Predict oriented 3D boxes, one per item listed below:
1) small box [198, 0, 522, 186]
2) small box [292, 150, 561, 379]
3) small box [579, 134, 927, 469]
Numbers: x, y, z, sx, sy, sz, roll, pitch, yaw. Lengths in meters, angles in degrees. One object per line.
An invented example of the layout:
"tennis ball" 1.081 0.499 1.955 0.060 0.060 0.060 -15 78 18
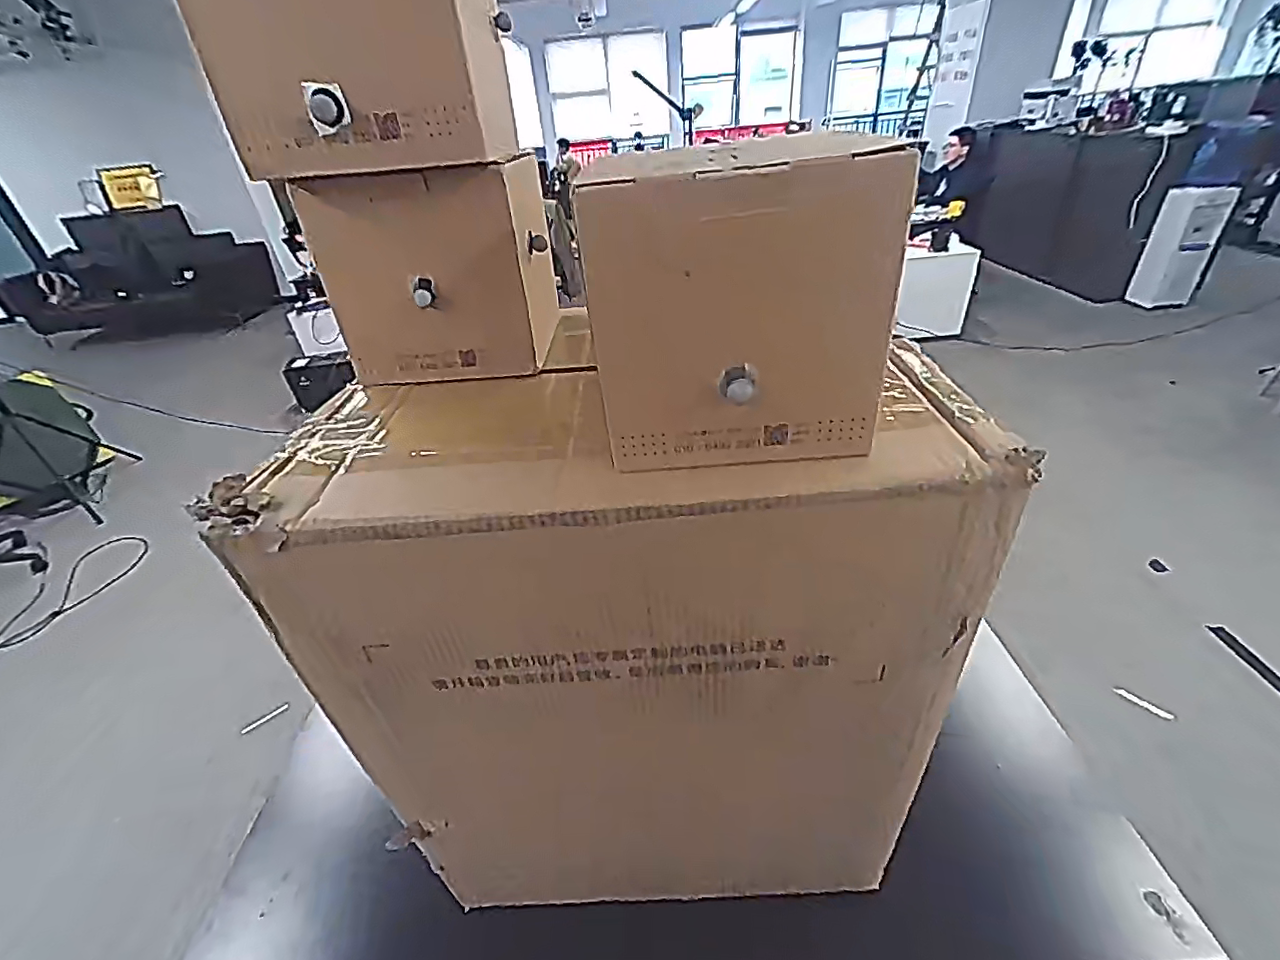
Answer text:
"small box" -0.188 -0.318 0.391 0.168 0.176 0.179 -6 34 0
"small box" -0.173 -0.201 0.510 0.168 0.176 0.179 -4 34 1
"small box" 0.061 -0.125 0.366 0.168 0.176 0.179 -4 35 5
